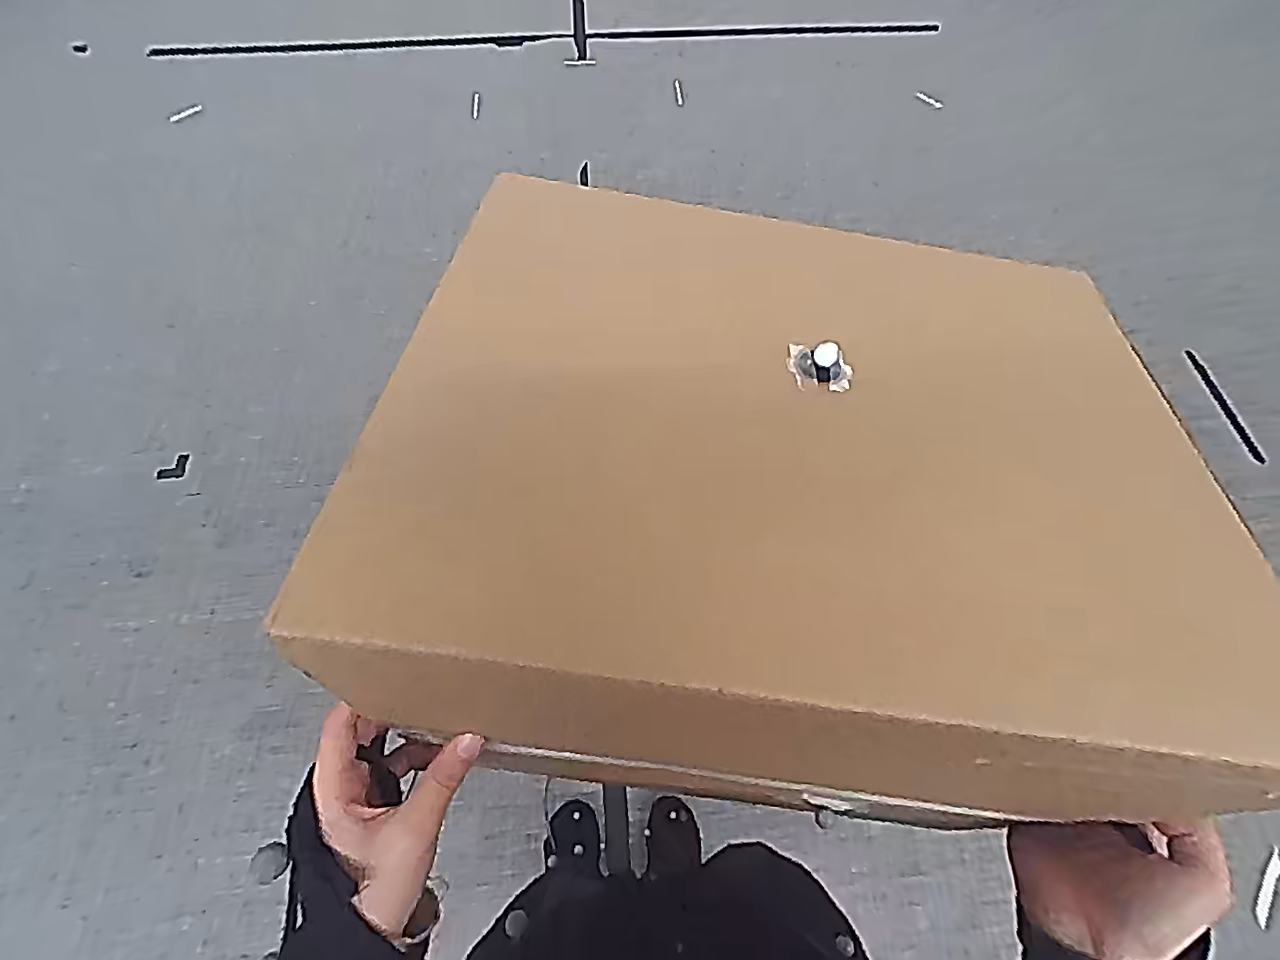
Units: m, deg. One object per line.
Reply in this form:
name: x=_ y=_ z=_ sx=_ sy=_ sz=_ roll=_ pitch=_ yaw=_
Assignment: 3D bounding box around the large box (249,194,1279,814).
large box: x=0.059 y=0.036 z=0.393 sx=0.408 sy=0.320 sz=0.320 roll=7 pitch=57 yaw=-2
